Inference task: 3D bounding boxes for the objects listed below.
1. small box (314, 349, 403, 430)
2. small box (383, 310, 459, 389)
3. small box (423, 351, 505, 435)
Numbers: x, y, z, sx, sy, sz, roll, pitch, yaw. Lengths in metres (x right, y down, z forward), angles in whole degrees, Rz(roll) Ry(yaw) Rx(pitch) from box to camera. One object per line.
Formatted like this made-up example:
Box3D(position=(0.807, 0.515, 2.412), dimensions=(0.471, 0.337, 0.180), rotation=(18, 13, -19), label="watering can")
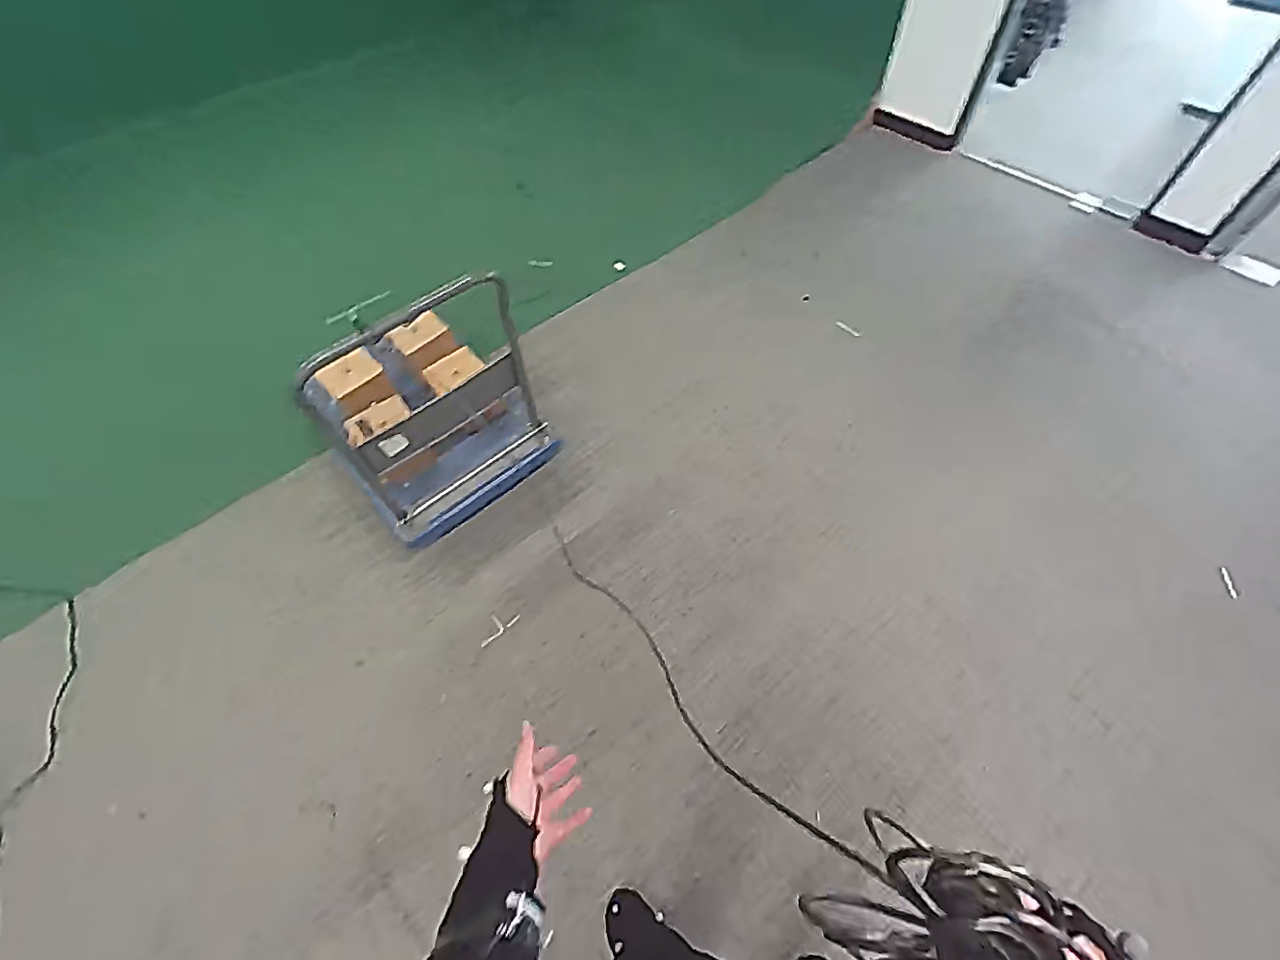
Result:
Box3D(position=(-0.920, -0.290, 1.780), dimensions=(0.179, 0.176, 0.168), rotation=(39, 67, 24), label="small box")
Box3D(position=(-0.744, -0.447, 1.868), dimensions=(0.179, 0.176, 0.168), rotation=(40, 69, 23), label="small box")
Box3D(position=(-0.565, -0.278, 1.755), dimensions=(0.168, 0.176, 0.179), rotation=(-37, 64, -18), label="small box")
